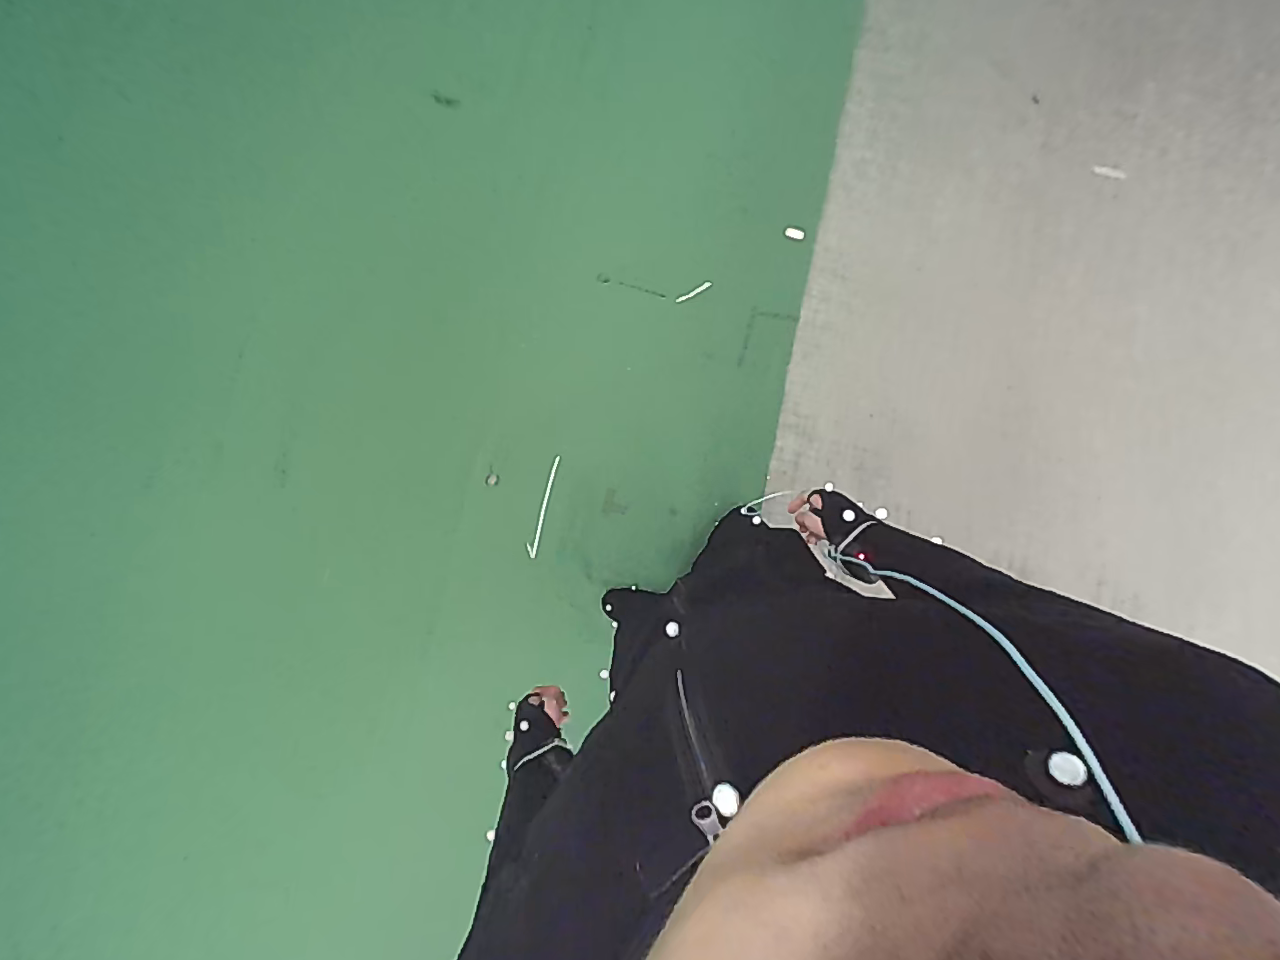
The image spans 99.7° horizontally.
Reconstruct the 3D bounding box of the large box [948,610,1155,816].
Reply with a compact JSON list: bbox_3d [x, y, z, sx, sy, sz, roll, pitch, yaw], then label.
[{"bbox_3d":[1.074,0.593,1.448,0.320,0.320,0.408,10,84,1],"label":"large box"}]
